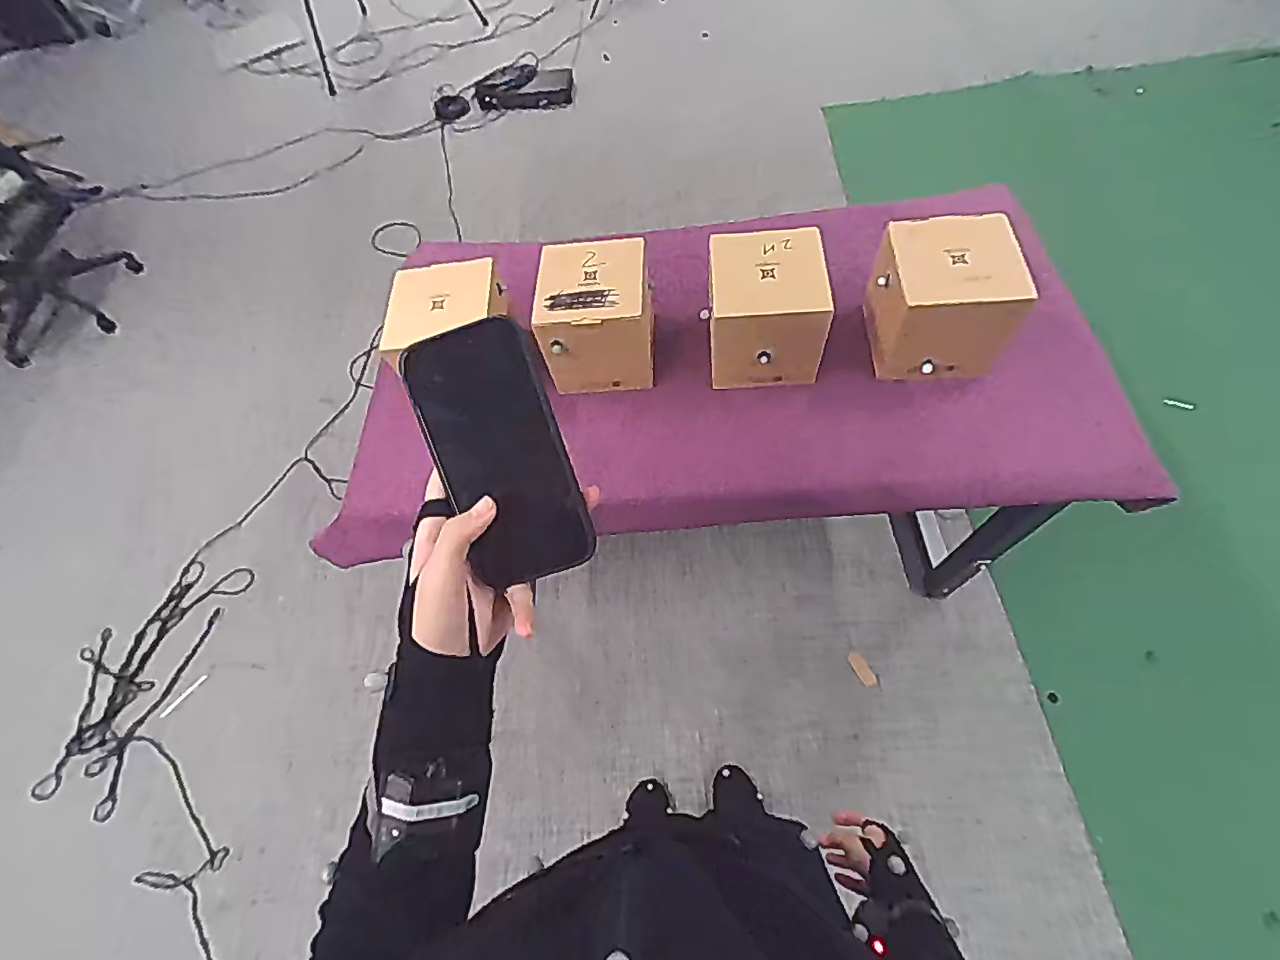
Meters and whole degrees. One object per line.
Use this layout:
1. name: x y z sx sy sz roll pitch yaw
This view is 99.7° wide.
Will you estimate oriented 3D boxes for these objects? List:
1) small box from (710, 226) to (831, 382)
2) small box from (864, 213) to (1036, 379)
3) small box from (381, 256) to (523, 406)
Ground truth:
1. small box: 0.196 -0.269 0.857 0.168 0.176 0.179 -1 61 6
2. small box: 0.455 -0.276 0.829 0.168 0.176 0.179 0 62 8
3. small box: -0.301 -0.238 0.907 0.168 0.176 0.179 -7 60 4
